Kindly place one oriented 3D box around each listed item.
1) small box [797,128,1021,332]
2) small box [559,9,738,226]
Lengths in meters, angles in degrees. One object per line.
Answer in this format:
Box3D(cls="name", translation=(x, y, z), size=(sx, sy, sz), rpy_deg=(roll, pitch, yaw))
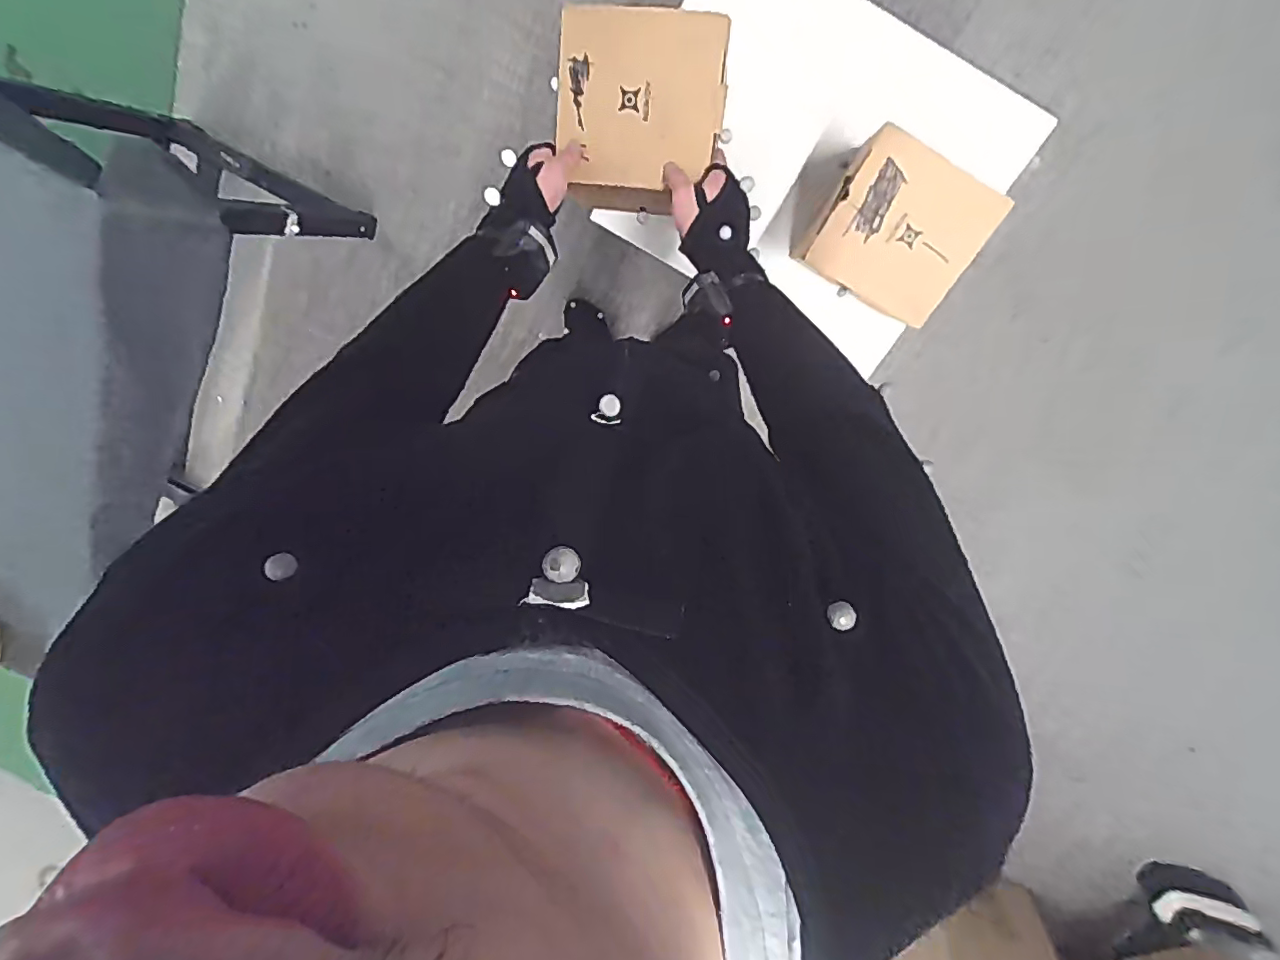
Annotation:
Box3D(cls="small box", translation=(0.329, -0.315, 0.709), size=(0.179, 0.176, 0.168), rpy_deg=(29, 112, -5))
Box3D(cls="small box", translation=(0.009, -0.405, 0.636), size=(0.179, 0.176, 0.168), rpy_deg=(6, 106, 2))
